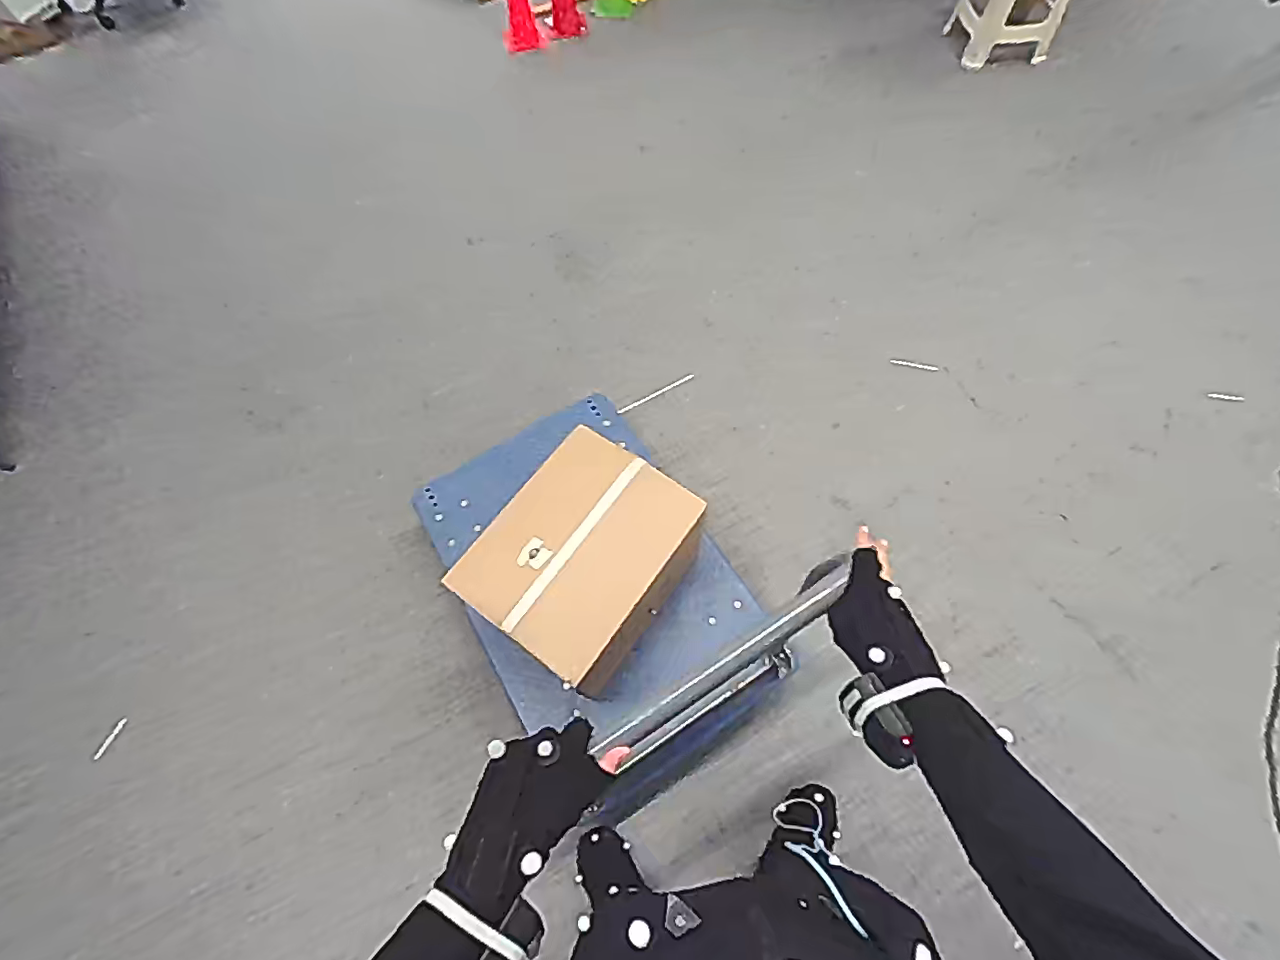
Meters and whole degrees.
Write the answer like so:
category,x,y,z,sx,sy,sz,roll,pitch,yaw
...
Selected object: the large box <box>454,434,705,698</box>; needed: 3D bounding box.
category,x,y,z,sx,sy,sz,roll,pitch,yaw
large box,-0.098,0.190,1.137,0.320,0.320,0.408,31,71,17
